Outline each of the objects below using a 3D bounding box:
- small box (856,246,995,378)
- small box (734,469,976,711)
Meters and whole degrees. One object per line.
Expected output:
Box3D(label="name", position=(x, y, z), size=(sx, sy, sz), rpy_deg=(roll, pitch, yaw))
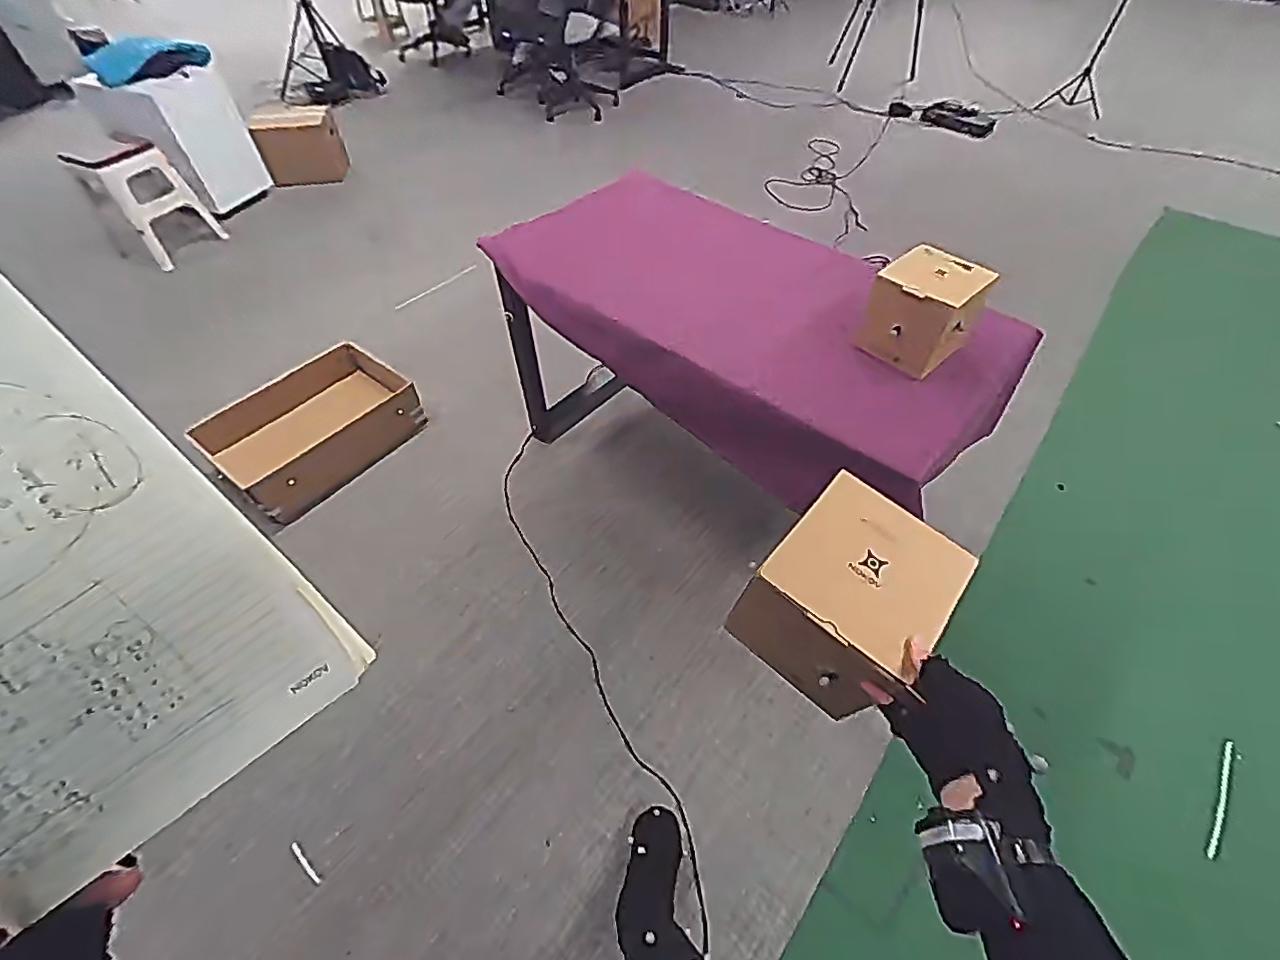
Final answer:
Box3D(label="small box", position=(0.565, -0.338, 1.098), size=(0.179, 0.176, 0.168), rpy_deg=(-36, 59, -24))
Box3D(label="small box", position=(0.224, 0.128, 0.608), size=(0.168, 0.176, 0.179), rpy_deg=(38, 61, 18))
